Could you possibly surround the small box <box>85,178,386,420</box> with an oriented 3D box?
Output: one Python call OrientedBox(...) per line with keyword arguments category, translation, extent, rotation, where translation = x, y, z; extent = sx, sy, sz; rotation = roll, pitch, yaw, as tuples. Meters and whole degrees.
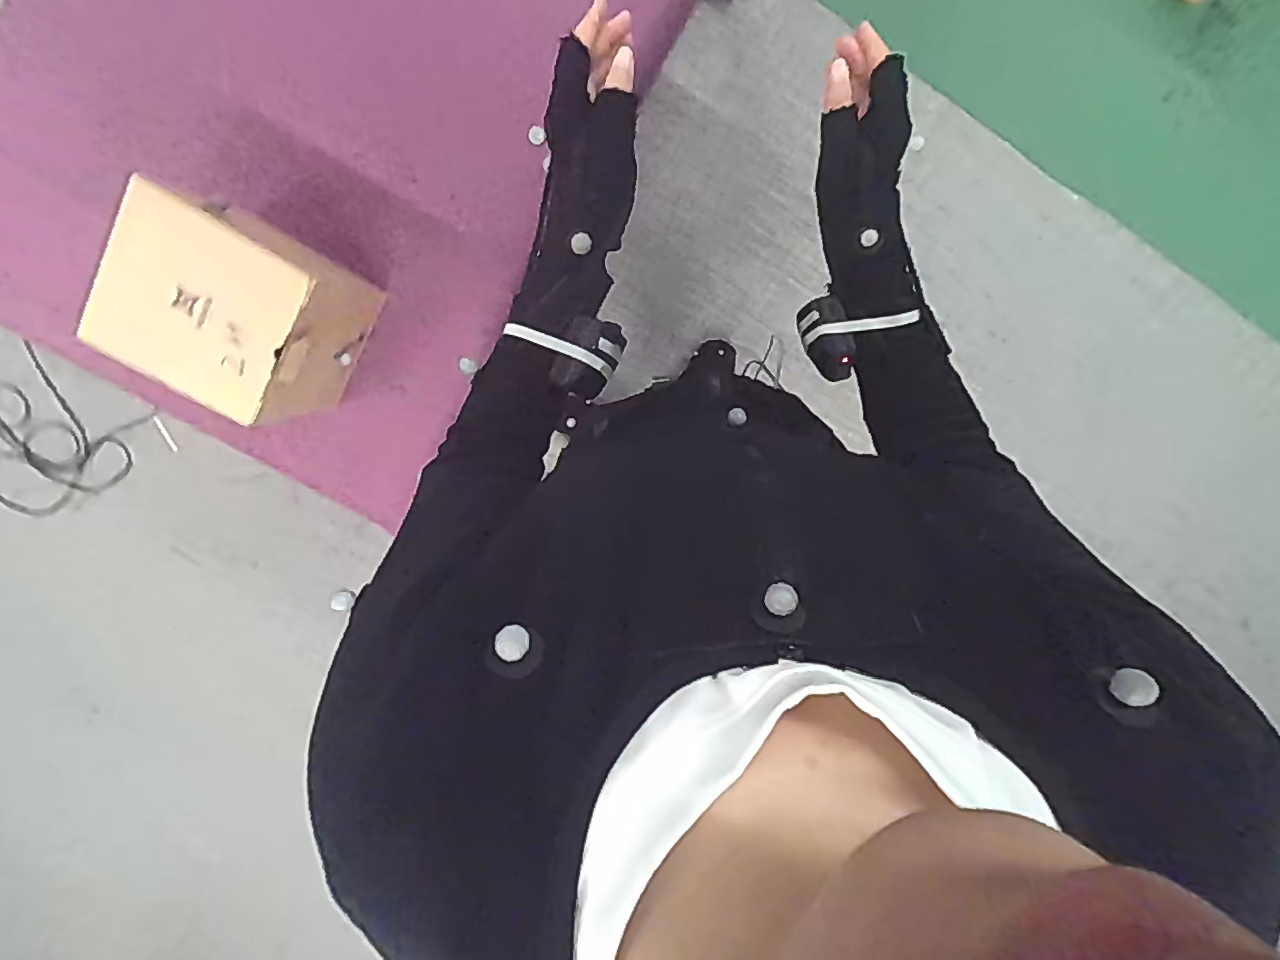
OrientedBox(category="small box", translation=(-0.424, -0.185, 0.597), extent=(0.179, 0.176, 0.168), rotation=(30, 101, -8))
